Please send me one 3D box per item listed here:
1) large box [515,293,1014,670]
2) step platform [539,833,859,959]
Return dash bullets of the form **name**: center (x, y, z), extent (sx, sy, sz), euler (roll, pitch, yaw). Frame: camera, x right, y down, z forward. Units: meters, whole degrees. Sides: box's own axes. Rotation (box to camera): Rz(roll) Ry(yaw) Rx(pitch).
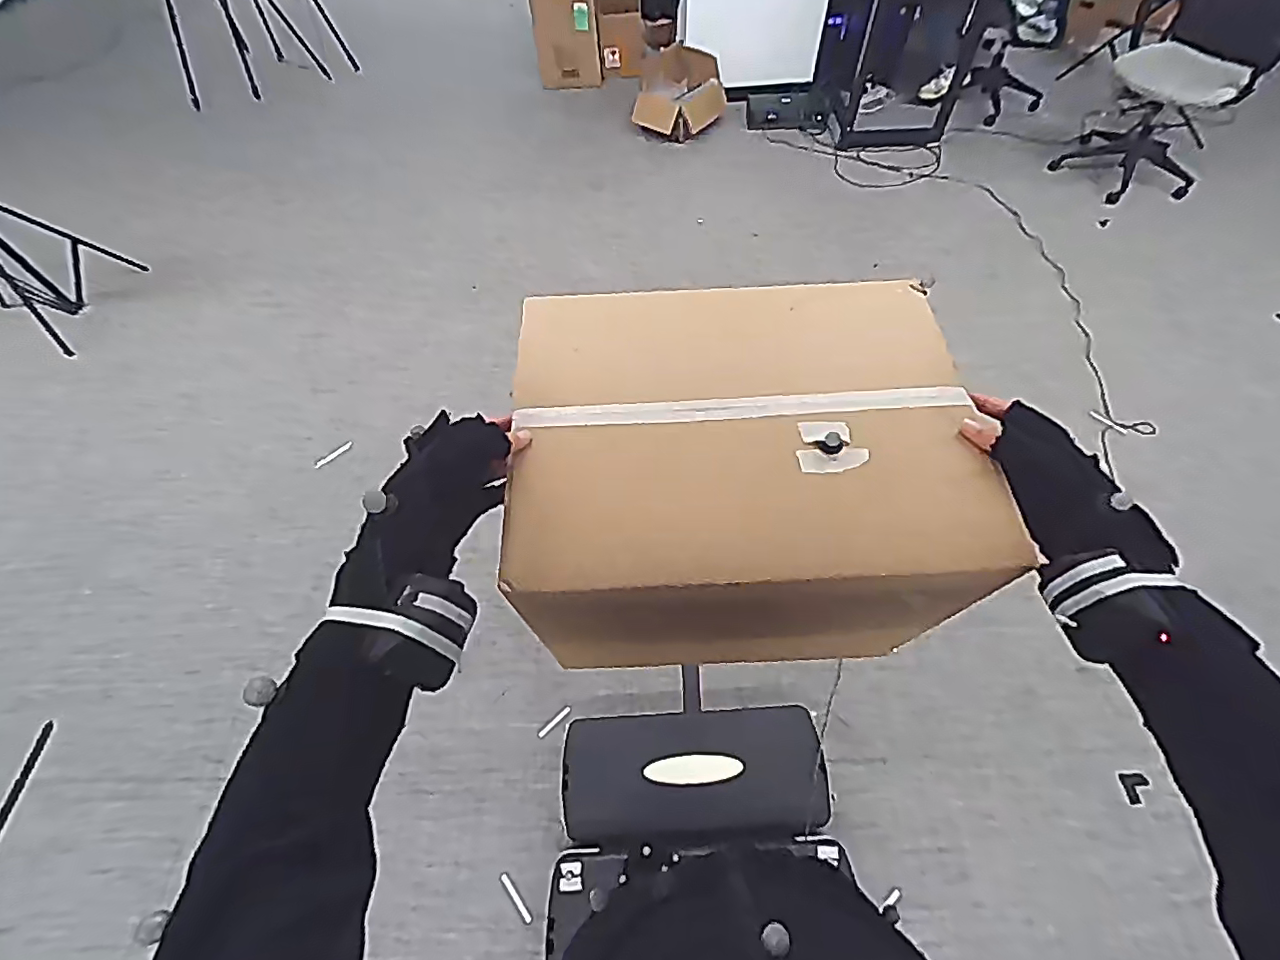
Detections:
- **large box**: center (0.091, 0.019, 0.623), extent (0.408, 0.320, 0.320), euler (-3, 61, -1)
- **step platform**: center (0.121, 0.978, 1.203), extent (0.684, 0.204, 0.286), euler (-5, 57, 1)
